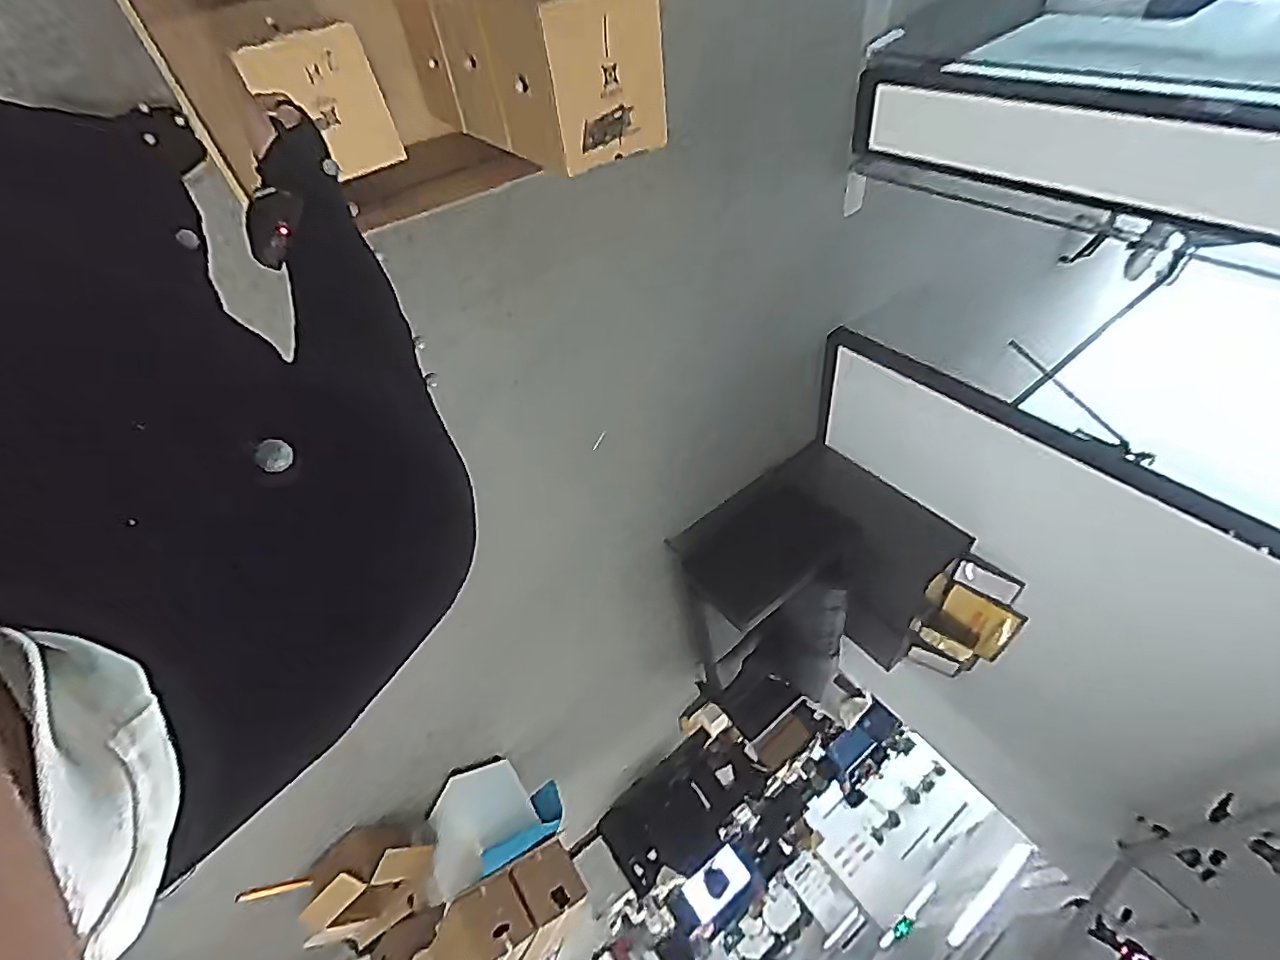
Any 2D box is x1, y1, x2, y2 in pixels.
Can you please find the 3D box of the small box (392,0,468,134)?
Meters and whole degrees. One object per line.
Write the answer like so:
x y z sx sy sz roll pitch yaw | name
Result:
-0.292 -0.717 0.919 0.168 0.176 0.179 -30 142 -22 | small box

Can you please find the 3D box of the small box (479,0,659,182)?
-0.091 -0.537 0.731 0.168 0.176 0.179 -31 141 -21 | small box

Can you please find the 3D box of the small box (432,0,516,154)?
-0.191 -0.628 0.826 0.168 0.176 0.179 -30 140 -21 | small box

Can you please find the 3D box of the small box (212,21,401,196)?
-0.504 -0.570 0.826 0.168 0.176 0.179 -34 142 -20 | small box
